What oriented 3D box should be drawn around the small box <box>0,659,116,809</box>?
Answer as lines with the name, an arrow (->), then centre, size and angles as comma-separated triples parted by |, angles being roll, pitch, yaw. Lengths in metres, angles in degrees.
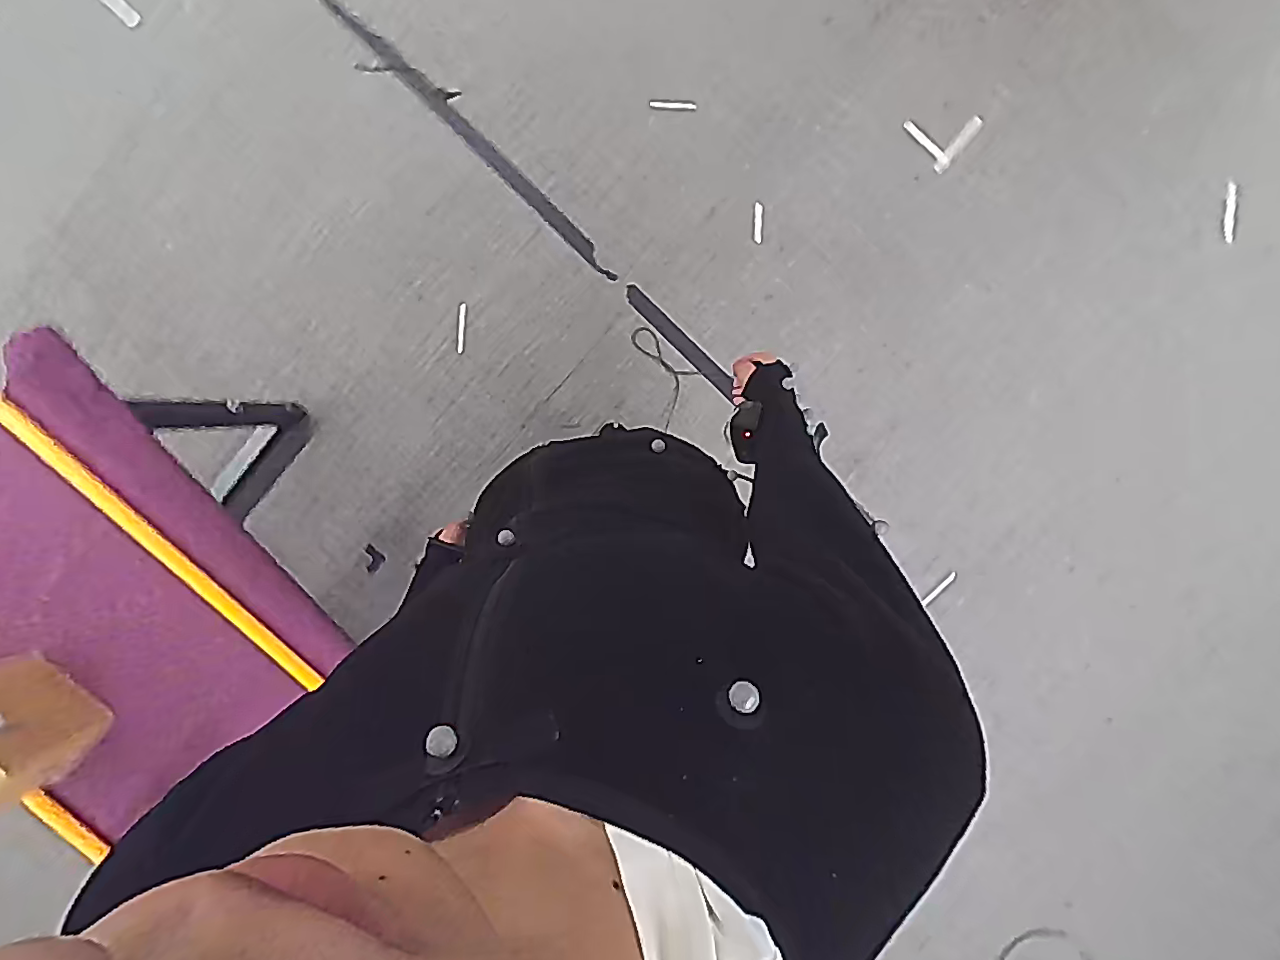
small box -> -1.042, 0.420, 0.882 | 0.179, 0.176, 0.168 | 43, 95, -5

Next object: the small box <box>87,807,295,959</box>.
small box -> -0.735, 0.710, 0.910 | 0.168, 0.176, 0.179 | 44, 94, -4
